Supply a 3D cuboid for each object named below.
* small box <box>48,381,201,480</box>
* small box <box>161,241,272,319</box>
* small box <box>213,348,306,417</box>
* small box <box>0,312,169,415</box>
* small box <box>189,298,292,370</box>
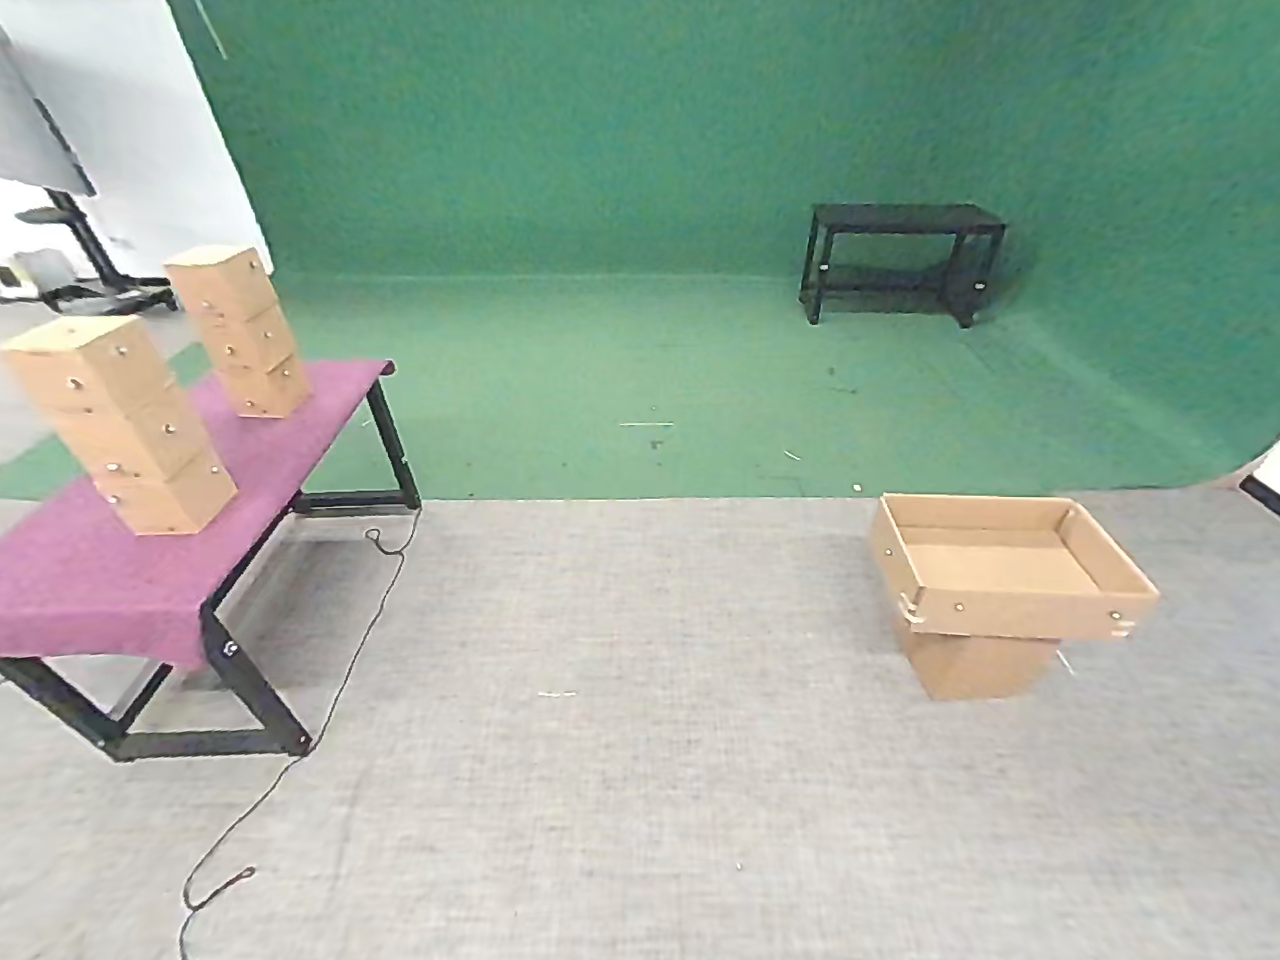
[{"bbox_3d":[-1.180,-0.119,1.262,0.168,0.176,0.179,-1,39,-1],"label":"small box"},{"bbox_3d":[-1.232,-0.590,1.594,0.168,0.176,0.179,2,40,3],"label":"small box"},{"bbox_3d":[-1.250,-0.330,1.796,0.168,0.176,0.179,3,40,2],"label":"small box"},{"bbox_3d":[-1.181,-0.250,1.164,0.168,0.176,0.179,1,37,-1],"label":"small box"},{"bbox_3d":[-1.237,-0.458,1.694,0.168,0.176,0.179,3,40,2],"label":"small box"}]
